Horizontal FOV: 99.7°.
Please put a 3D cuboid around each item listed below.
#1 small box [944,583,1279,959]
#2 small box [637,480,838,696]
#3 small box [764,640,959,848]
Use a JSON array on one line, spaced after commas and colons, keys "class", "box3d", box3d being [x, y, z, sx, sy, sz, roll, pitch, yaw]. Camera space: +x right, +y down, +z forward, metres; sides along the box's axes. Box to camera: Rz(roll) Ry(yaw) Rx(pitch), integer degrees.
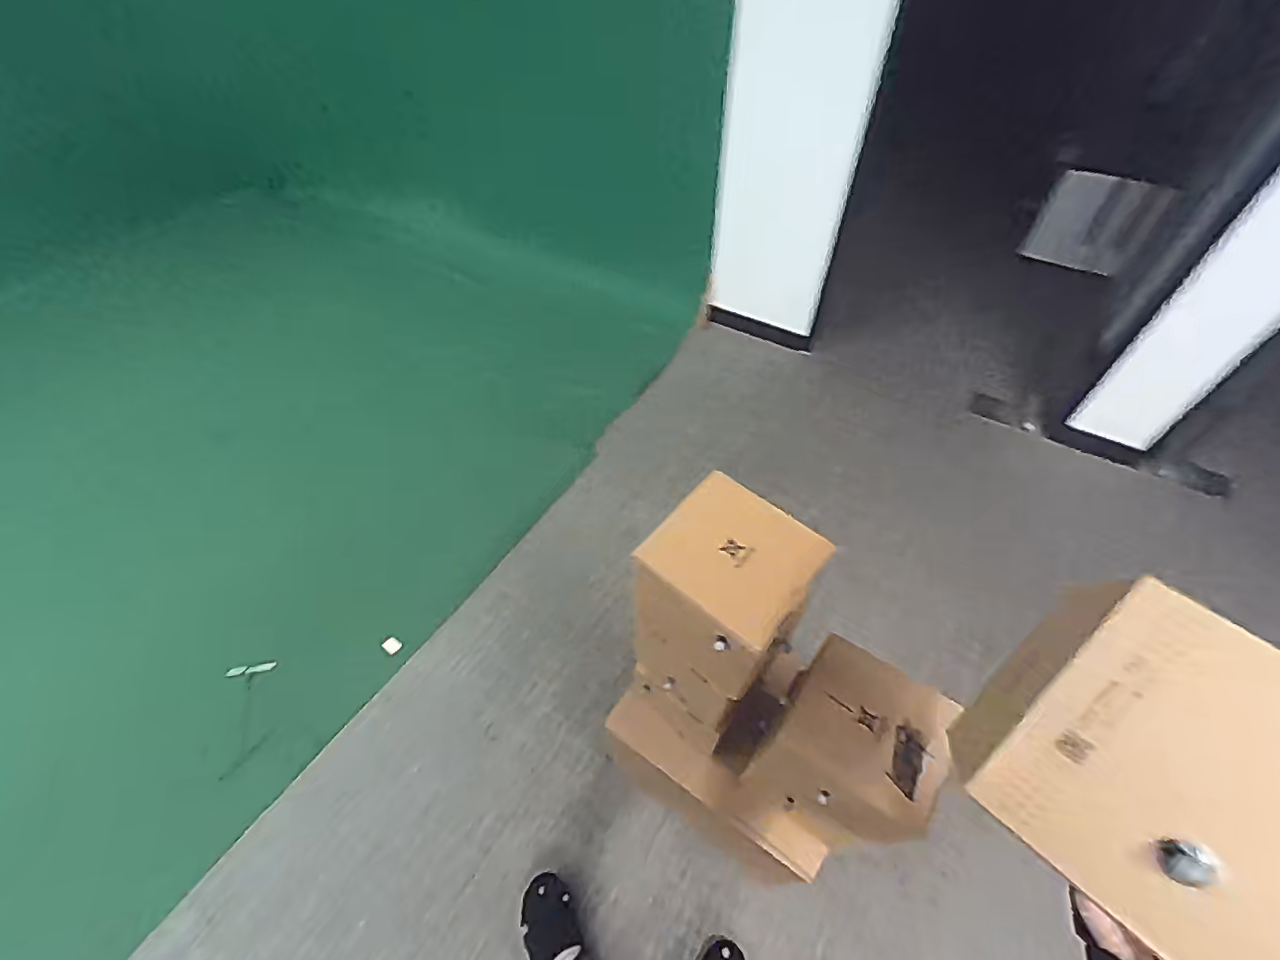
[{"class": "small box", "box3d": [0.327, 0.181, 0.350, 0.176, 0.179, 0.168, 39, 96, 26]}, {"class": "small box", "box3d": [0.112, 0.139, 0.682, 0.179, 0.176, 0.168, 34, 60, 24]}, {"class": "small box", "box3d": [0.285, 0.351, 0.714, 0.179, 0.176, 0.168, 28, 58, 23]}]
